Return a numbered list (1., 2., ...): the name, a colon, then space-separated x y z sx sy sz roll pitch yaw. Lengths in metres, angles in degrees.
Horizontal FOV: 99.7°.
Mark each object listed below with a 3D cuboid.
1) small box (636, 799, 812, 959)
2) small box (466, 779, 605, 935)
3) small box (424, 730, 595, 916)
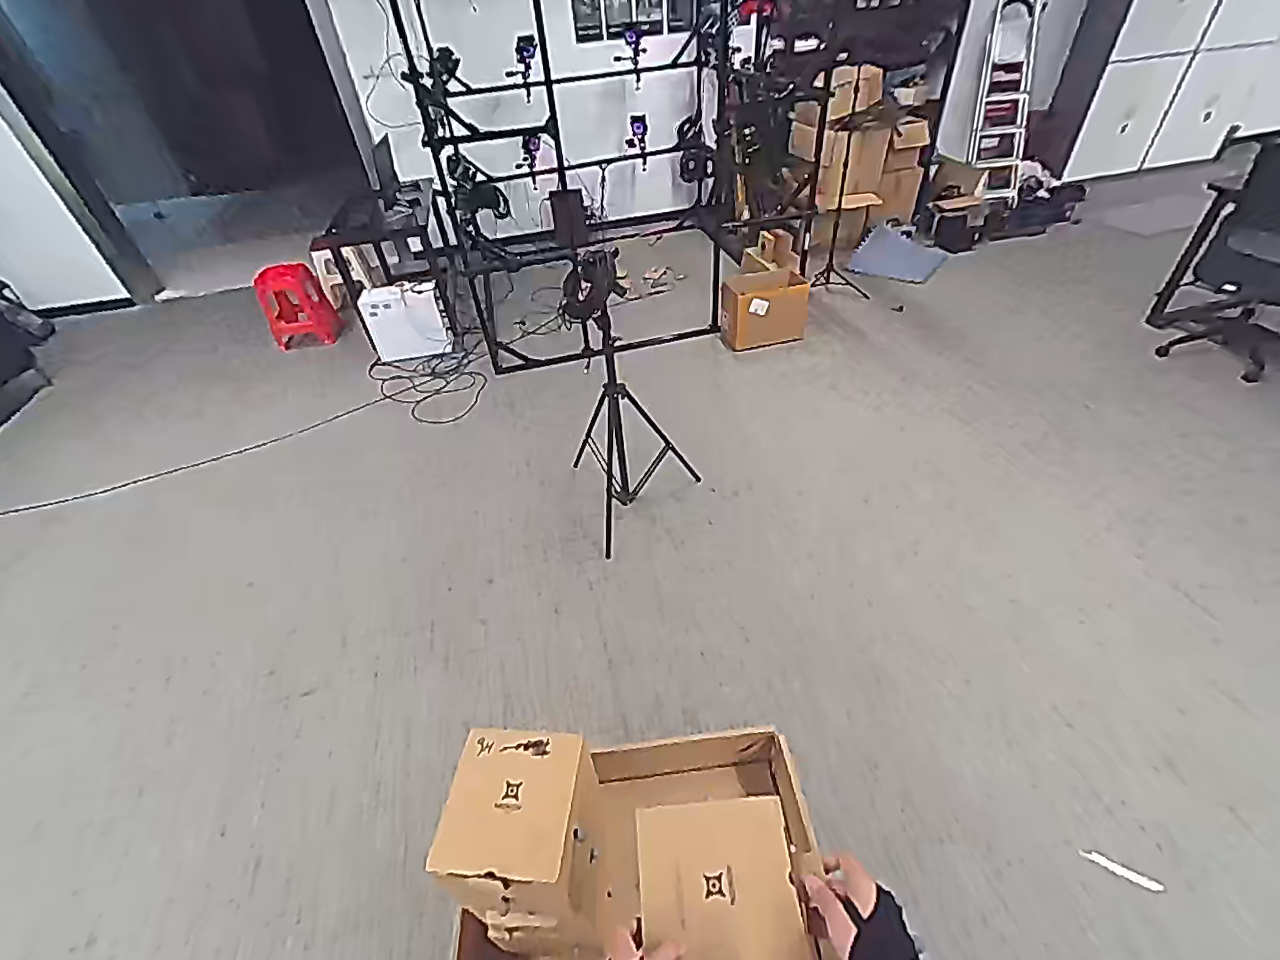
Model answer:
1. small box: 0.093 0.501 0.653 0.179 0.176 0.168 -7 46 3
2. small box: -0.151 0.593 0.856 0.168 0.176 0.179 -2 40 5
3. small box: -0.162 0.472 0.745 0.168 0.176 0.179 1 41 7
